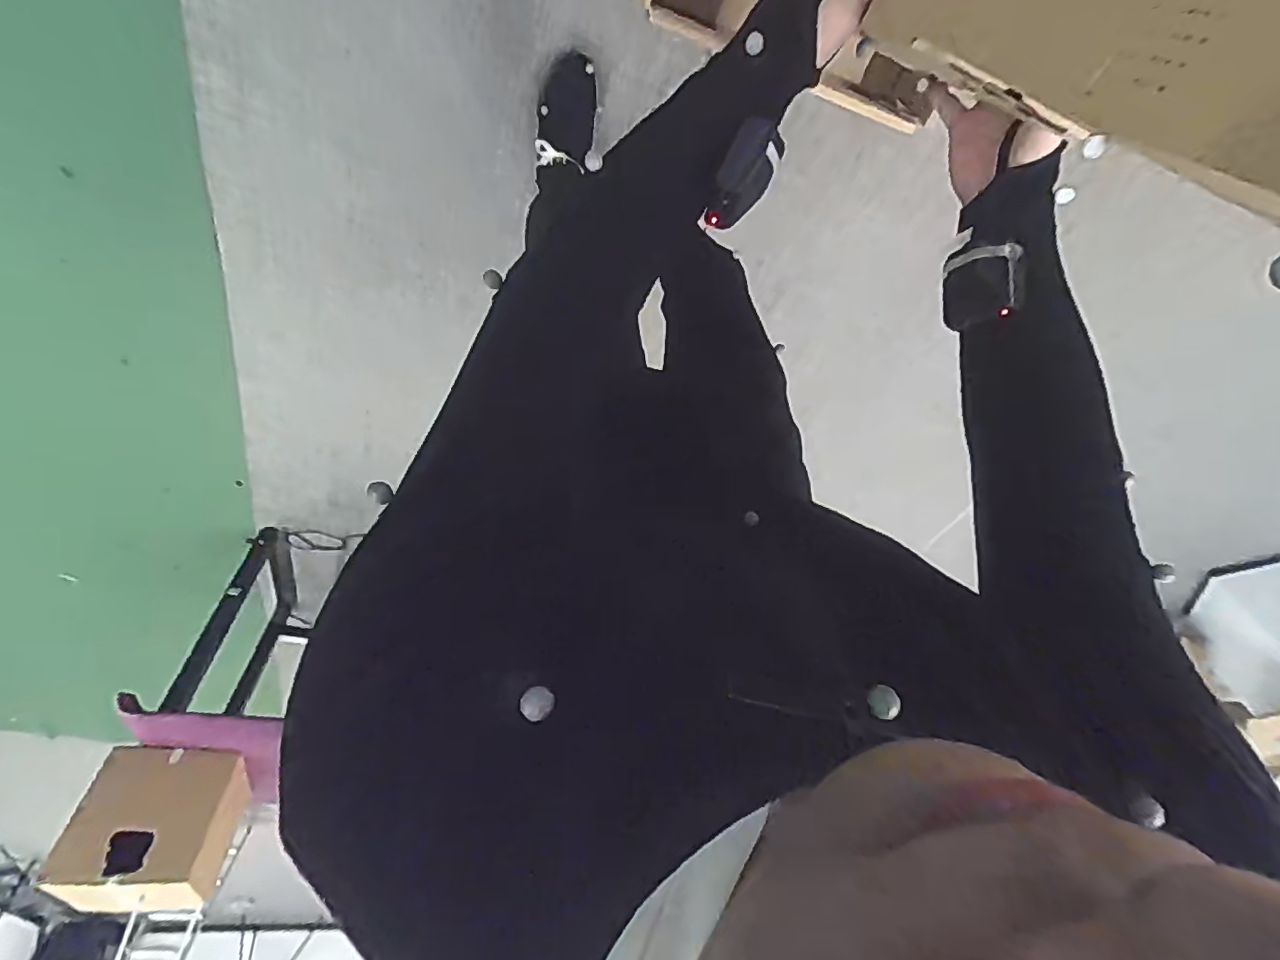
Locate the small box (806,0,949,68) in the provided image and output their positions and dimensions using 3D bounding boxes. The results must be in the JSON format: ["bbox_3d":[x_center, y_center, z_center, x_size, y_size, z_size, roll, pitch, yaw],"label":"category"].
[{"bbox_3d":[0.249,-0.478,0.457,0.179,0.176,0.168,12,133,-17],"label":"small box"}]

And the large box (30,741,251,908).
[{"bbox_3d":[-1.352,0.977,1.526,0.320,0.320,0.408,13,132,-19],"label":"large box"}]

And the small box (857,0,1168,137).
[{"bbox_3d":[0.263,-0.363,0.341,0.168,0.176,0.179,12,133,-18],"label":"small box"}]

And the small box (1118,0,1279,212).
[{"bbox_3d":[0.275,-0.127,0.110,0.168,0.176,0.179,12,134,-16],"label":"small box"}]
